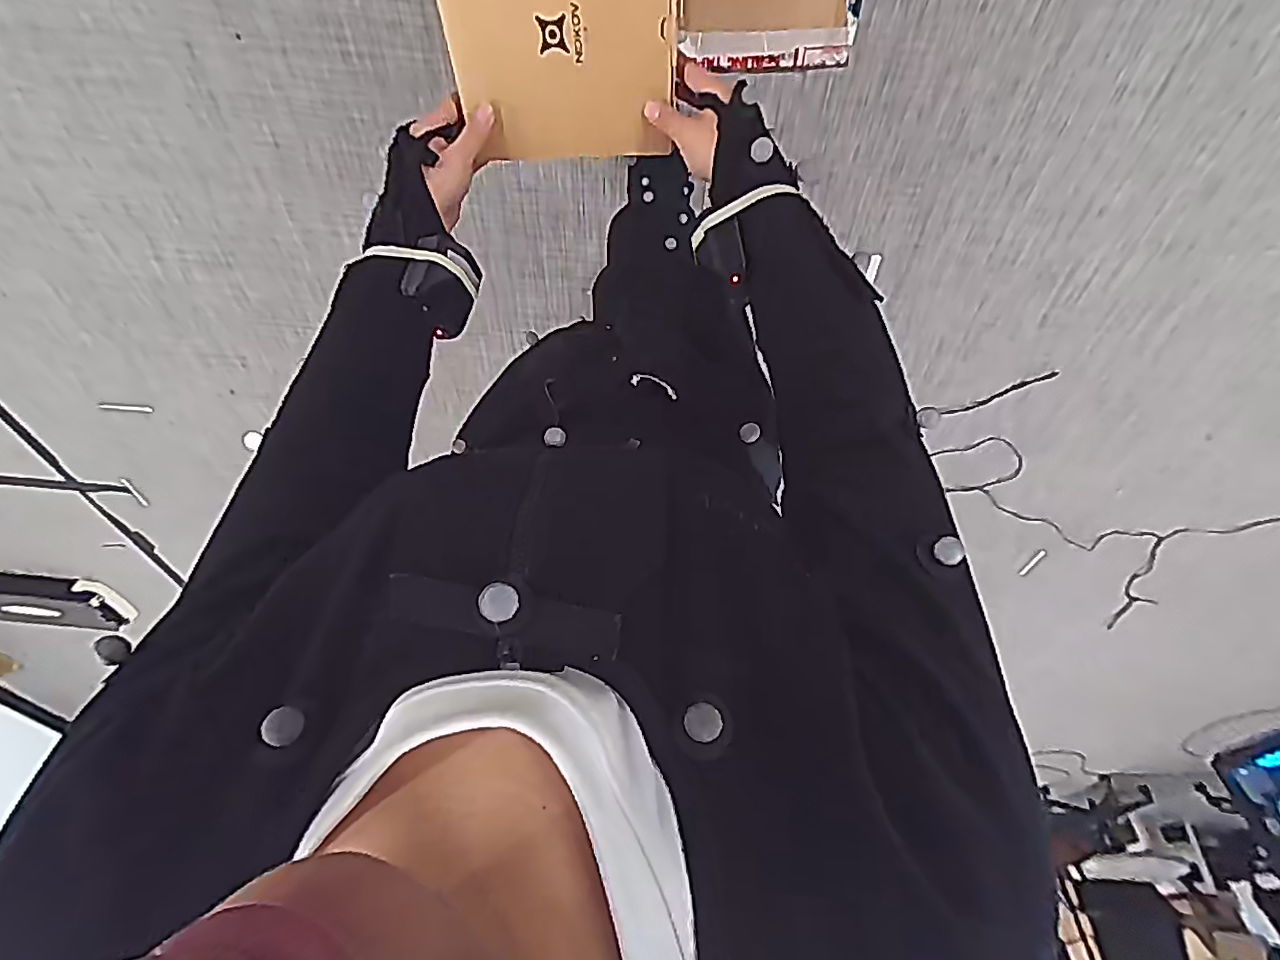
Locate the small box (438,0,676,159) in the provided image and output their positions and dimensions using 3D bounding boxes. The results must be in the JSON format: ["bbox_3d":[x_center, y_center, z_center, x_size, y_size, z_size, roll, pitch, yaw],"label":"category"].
[{"bbox_3d":[-0.058,-0.391,0.465,0.179,0.176,0.168,-1,134,3],"label":"small box"}]
